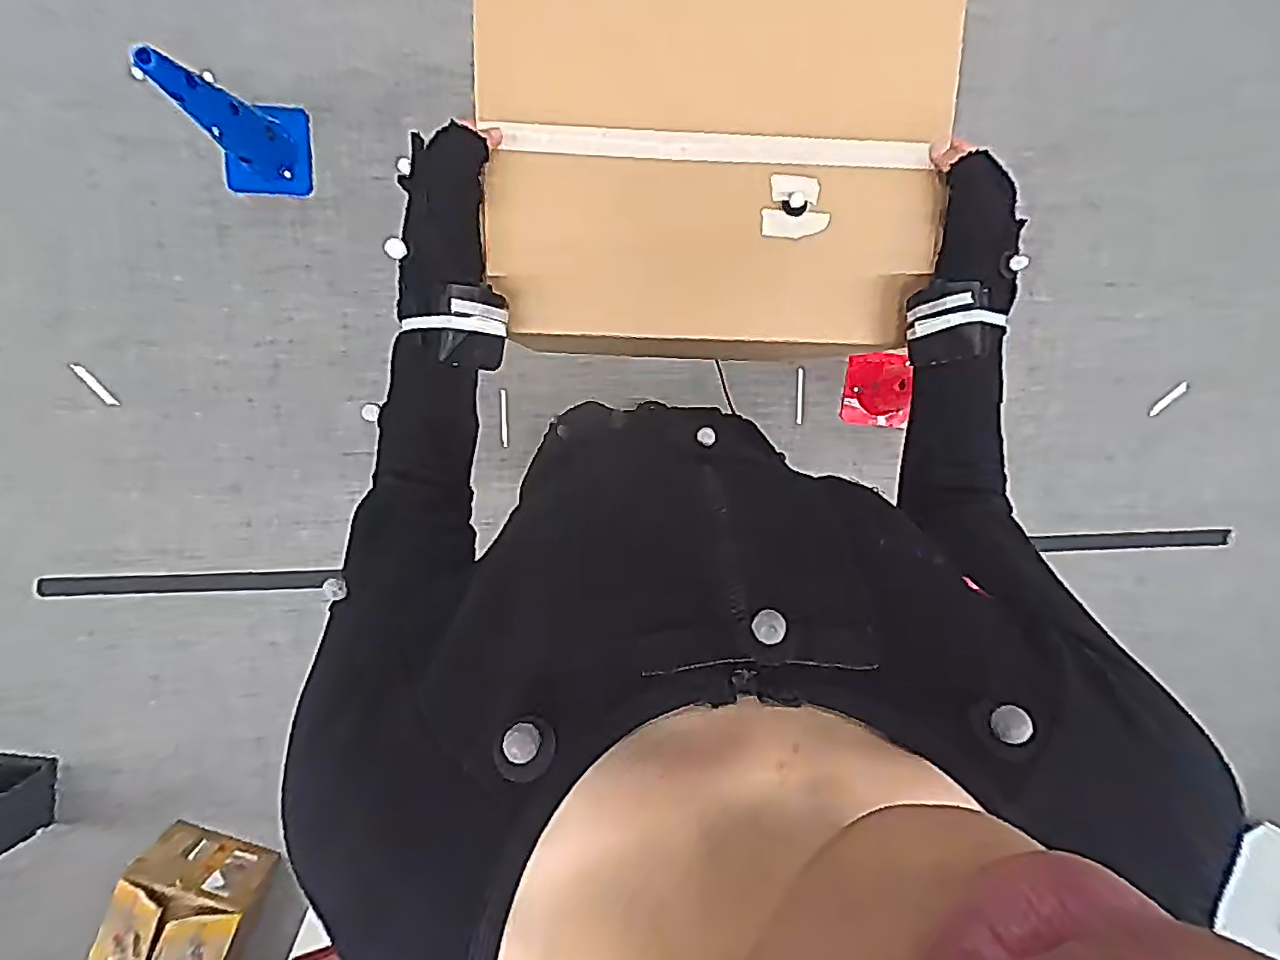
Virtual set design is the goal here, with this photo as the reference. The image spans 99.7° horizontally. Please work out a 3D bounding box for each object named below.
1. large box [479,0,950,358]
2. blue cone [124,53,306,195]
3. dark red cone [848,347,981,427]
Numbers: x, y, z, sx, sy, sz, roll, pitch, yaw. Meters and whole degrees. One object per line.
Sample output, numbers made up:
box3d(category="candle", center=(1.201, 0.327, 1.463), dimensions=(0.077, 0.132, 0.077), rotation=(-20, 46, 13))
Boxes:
box3d(category="large box", center=(0.055, -0.307, 0.613), dimensions=(0.408, 0.320, 0.320), rotation=(1, 100, -4))
box3d(category="blue cone", center=(-0.902, -0.770, 1.148), dimensions=(0.192, 0.380, 0.193), rotation=(2, 97, -3))
box3d(category="dark red cone", center=(0.671, -0.226, 1.291), dimensions=(0.201, 0.394, 0.202), rotation=(5, 97, -3))
